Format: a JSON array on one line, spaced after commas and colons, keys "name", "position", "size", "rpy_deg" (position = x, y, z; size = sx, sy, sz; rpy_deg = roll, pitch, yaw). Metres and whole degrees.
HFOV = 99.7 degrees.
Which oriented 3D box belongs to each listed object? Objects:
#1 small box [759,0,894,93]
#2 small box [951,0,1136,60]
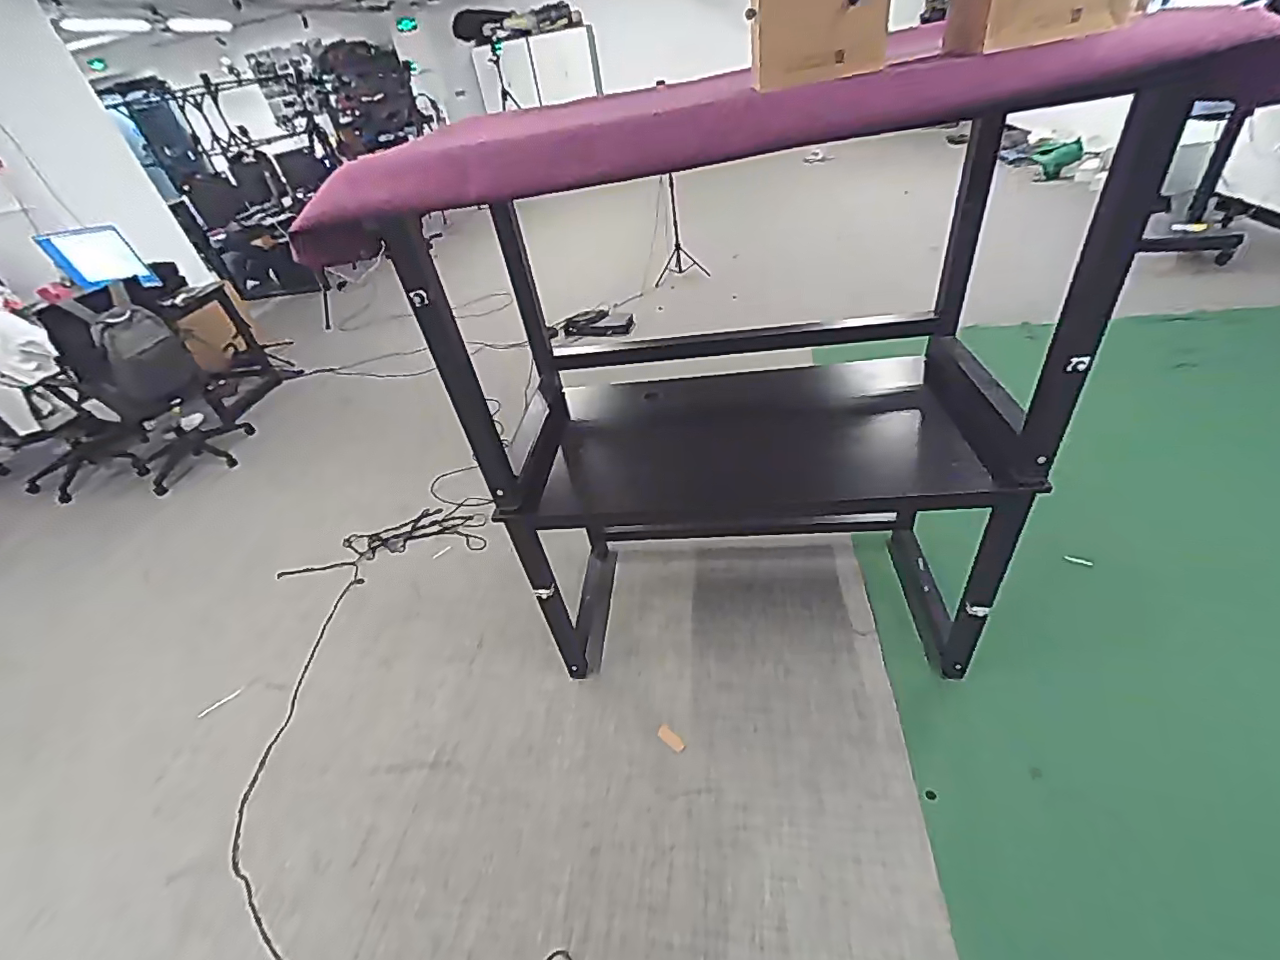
[{"name": "small box", "position": [0.255, -0.659, 0.761], "size": [0.168, 0.176, 0.179], "rpy_deg": [-2, 37, 10]}, {"name": "small box", "position": [0.532, -0.668, 0.705], "size": [0.168, 0.176, 0.179], "rpy_deg": [-3, 38, 11]}]
